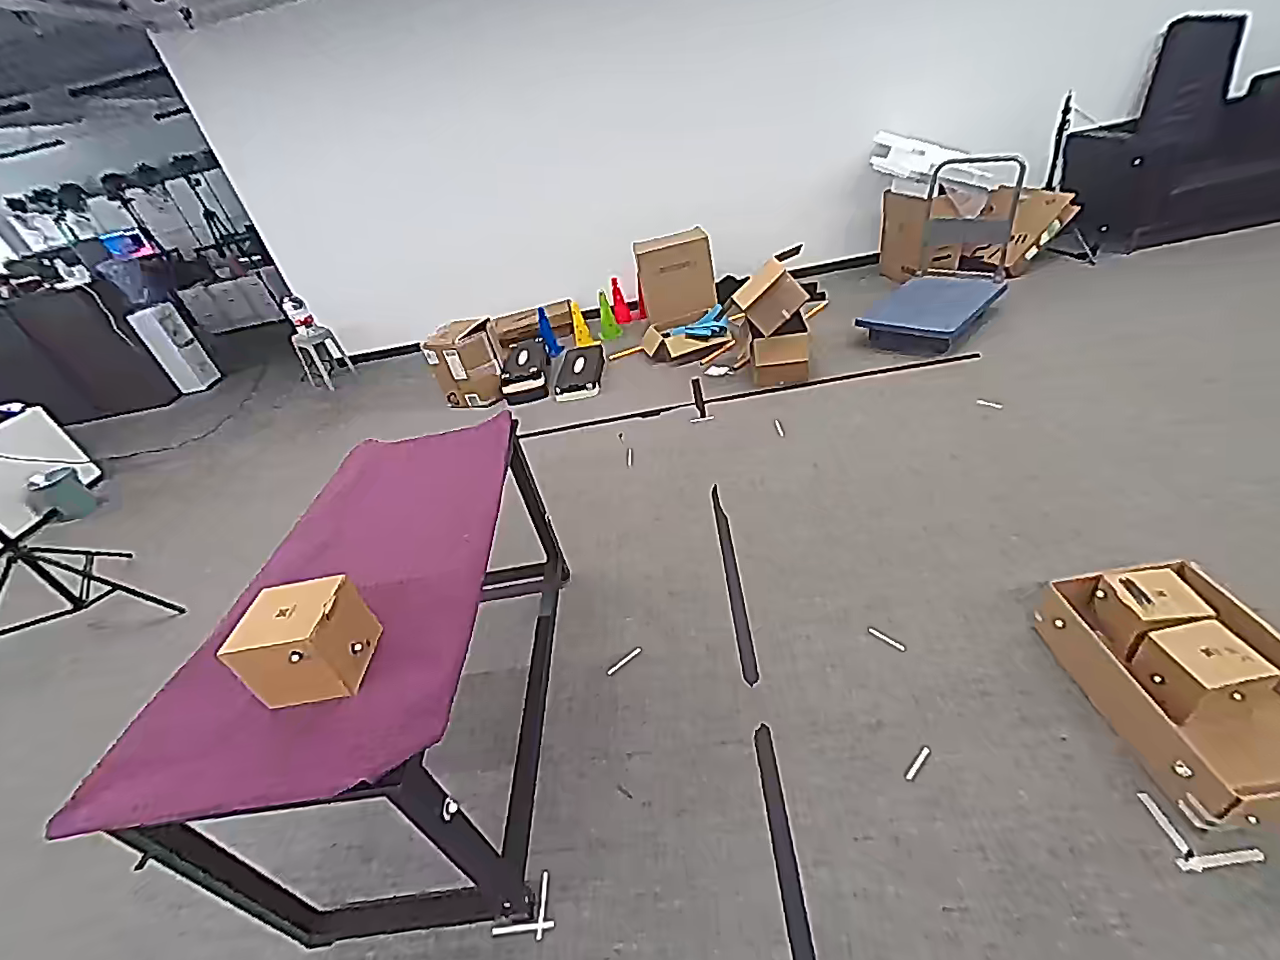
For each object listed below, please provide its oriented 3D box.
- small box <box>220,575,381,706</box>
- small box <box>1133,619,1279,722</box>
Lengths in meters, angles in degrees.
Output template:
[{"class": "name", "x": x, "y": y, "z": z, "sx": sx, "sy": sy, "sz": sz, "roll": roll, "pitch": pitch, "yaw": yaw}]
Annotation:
[{"class": "small box", "x": -0.645, "y": 0.315, "z": 1.055, "sx": 0.179, "sy": 0.176, "sz": 0.168, "roll": -11, "pitch": 34, "yaw": 2}, {"class": "small box", "x": 1.398, "y": 0.481, "z": 1.356, "sx": 0.179, "sy": 0.176, "sz": 0.168, "roll": -12, "pitch": 36, "yaw": 2}]
